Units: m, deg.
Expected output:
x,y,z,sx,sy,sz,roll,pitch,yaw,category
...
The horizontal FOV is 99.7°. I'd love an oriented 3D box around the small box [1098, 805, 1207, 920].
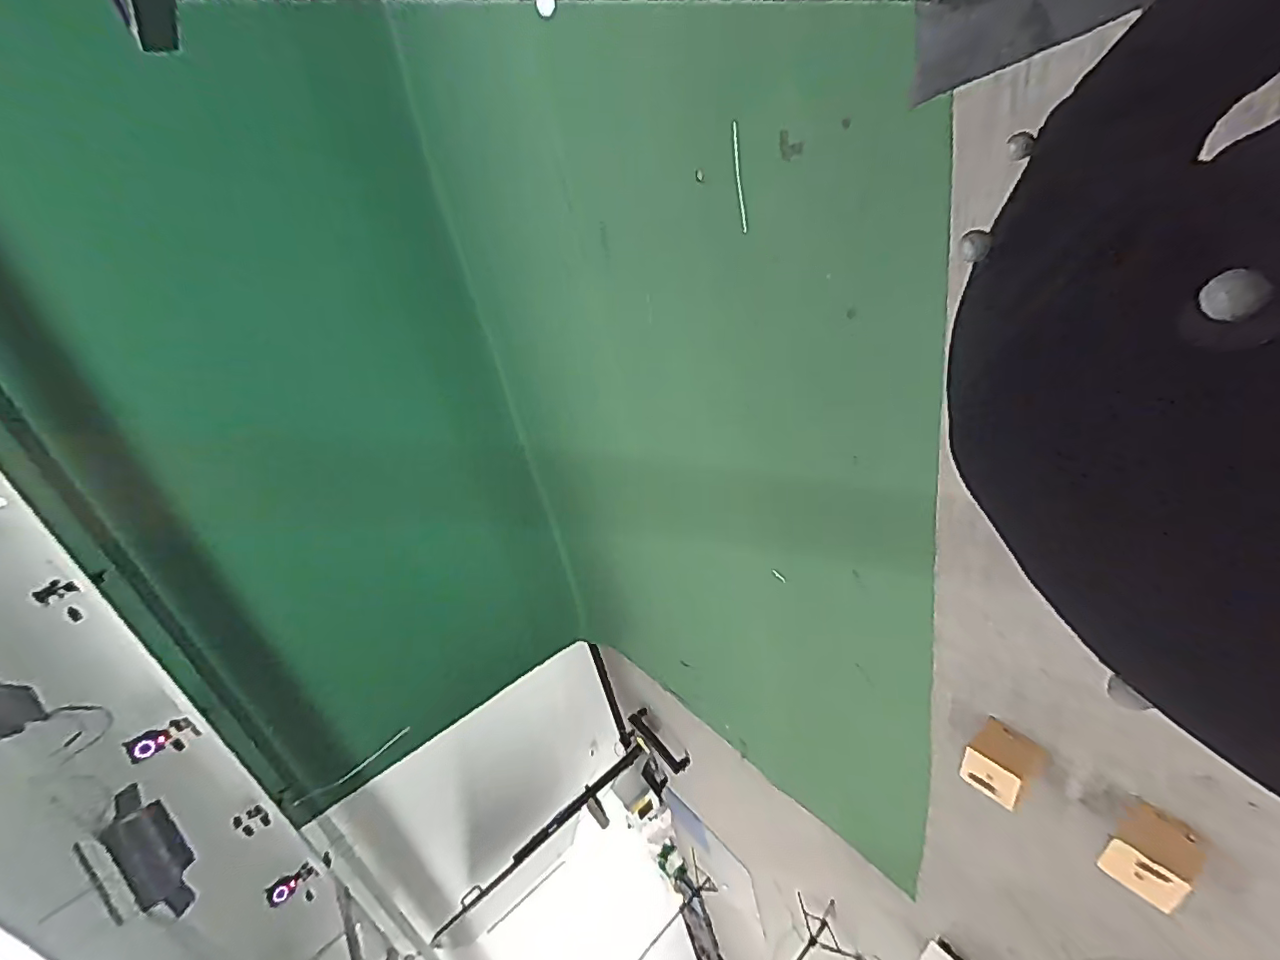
x,y,z,sx,sy,sz,roll,pitch,yaw,category
1.450,1.072,1.528,0.168,0.176,0.179,29,138,45,small box
